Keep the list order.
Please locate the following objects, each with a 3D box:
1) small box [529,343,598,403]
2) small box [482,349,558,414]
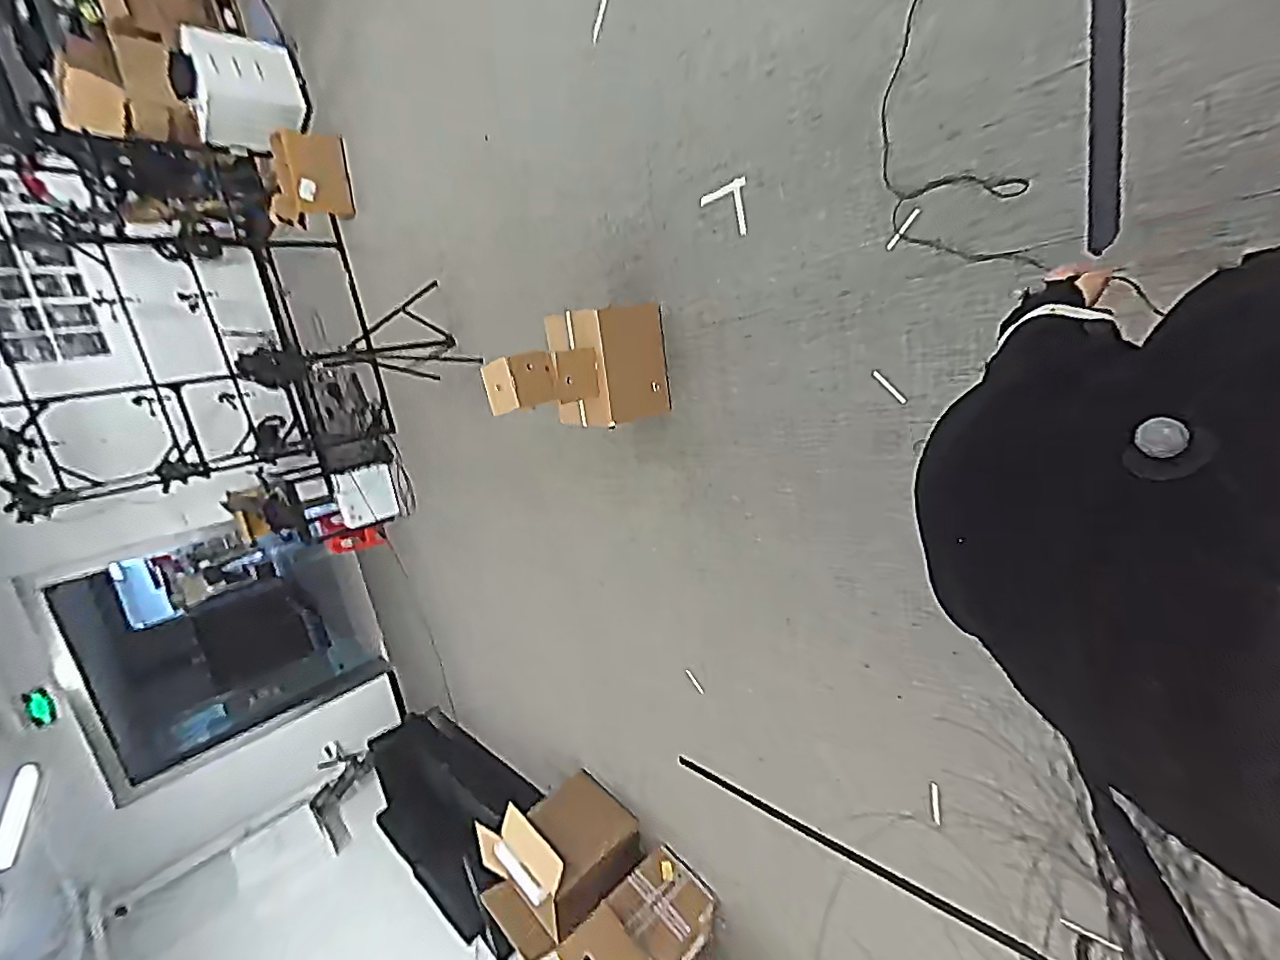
[{"bbox_3d":[-0.261,-0.373,1.869,0.168,0.176,0.179,13,115,43],"label":"small box"},{"bbox_3d":[-0.385,-0.324,1.775,0.179,0.176,0.168,-8,100,49],"label":"small box"}]
